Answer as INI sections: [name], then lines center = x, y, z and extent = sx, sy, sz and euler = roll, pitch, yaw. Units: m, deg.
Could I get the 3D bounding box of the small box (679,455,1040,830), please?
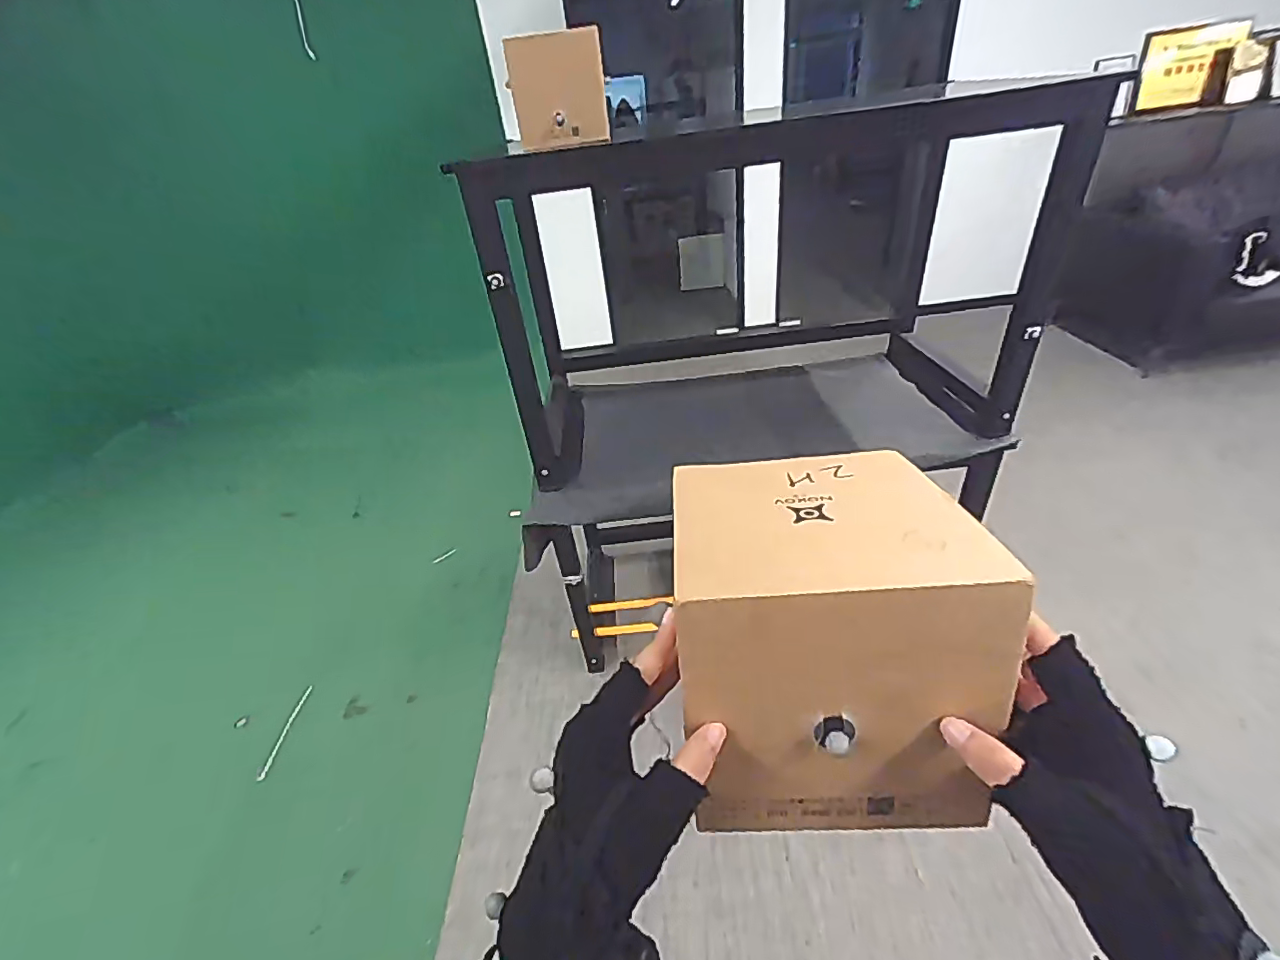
[small box]
center = 0.114, 0.097, 0.355
extent = 0.168, 0.176, 0.179
euler = -4, 22, 5
